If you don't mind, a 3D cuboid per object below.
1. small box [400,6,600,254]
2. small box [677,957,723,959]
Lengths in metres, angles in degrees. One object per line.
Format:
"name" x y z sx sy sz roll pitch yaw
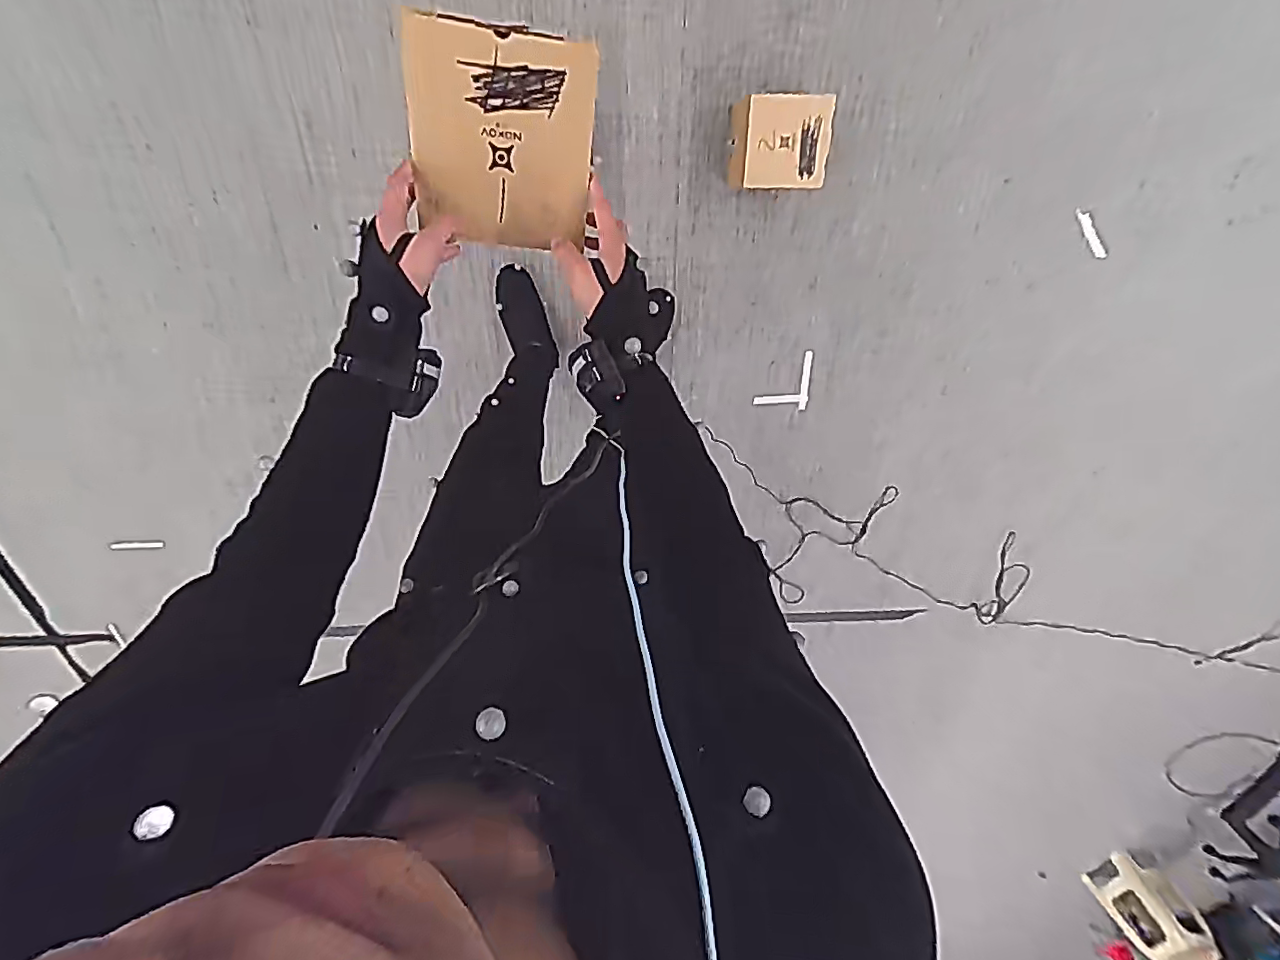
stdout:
"small box" -0.136 -0.355 0.559 0.168 0.176 0.179 3 127 -10
"small box" 0.188 1.631 1.695 0.168 0.176 0.179 1 120 -5
